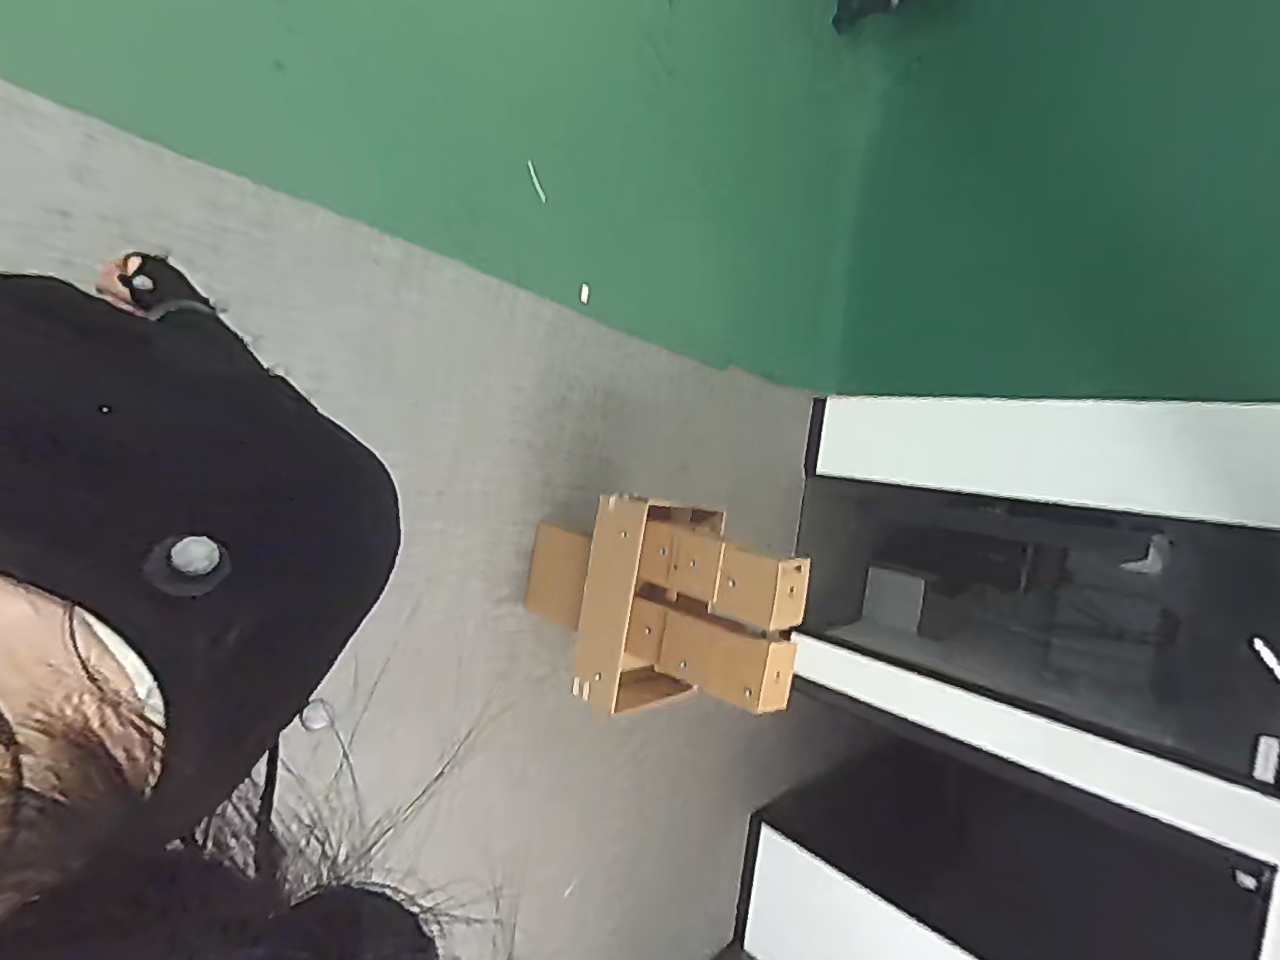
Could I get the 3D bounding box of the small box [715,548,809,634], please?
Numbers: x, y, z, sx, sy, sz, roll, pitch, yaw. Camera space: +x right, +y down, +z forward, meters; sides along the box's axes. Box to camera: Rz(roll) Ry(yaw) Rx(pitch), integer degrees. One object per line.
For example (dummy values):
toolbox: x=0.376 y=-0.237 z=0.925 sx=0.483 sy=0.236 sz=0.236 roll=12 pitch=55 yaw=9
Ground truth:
small box: x=0.318 y=0.286 z=1.430 sx=0.168 sy=0.176 sz=0.179 roll=6 pitch=95 yaw=-46
